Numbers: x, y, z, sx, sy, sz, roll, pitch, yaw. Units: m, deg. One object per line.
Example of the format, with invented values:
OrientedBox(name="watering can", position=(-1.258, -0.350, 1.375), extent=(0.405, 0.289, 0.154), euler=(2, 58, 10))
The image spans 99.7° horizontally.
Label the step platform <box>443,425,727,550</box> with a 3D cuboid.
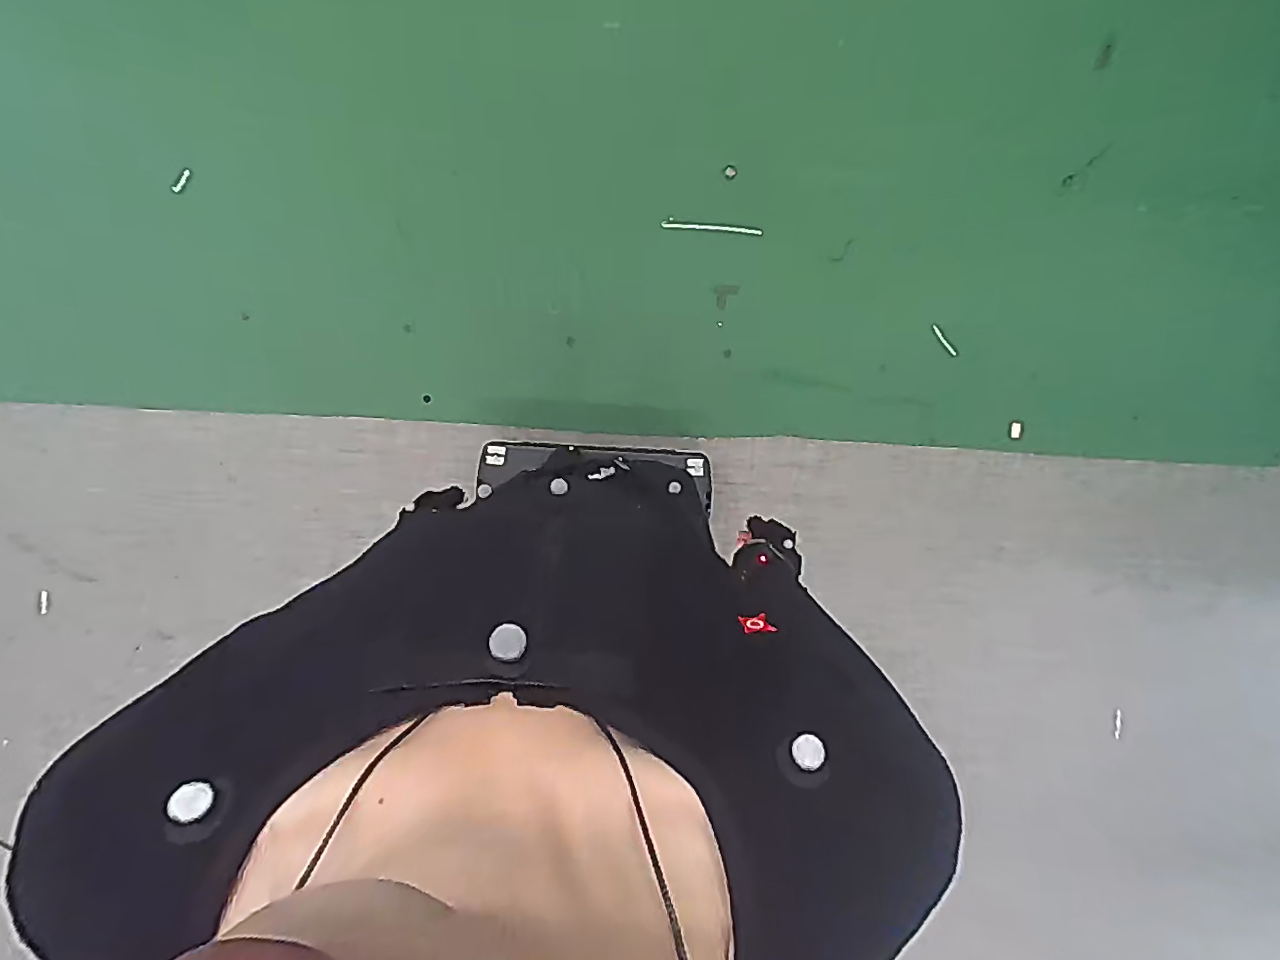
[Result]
OrientedBox(name="step platform", position=(-0.134, 0.017, 1.393), extent=(0.684, 0.204, 0.286), euler=(2, 93, -2))
